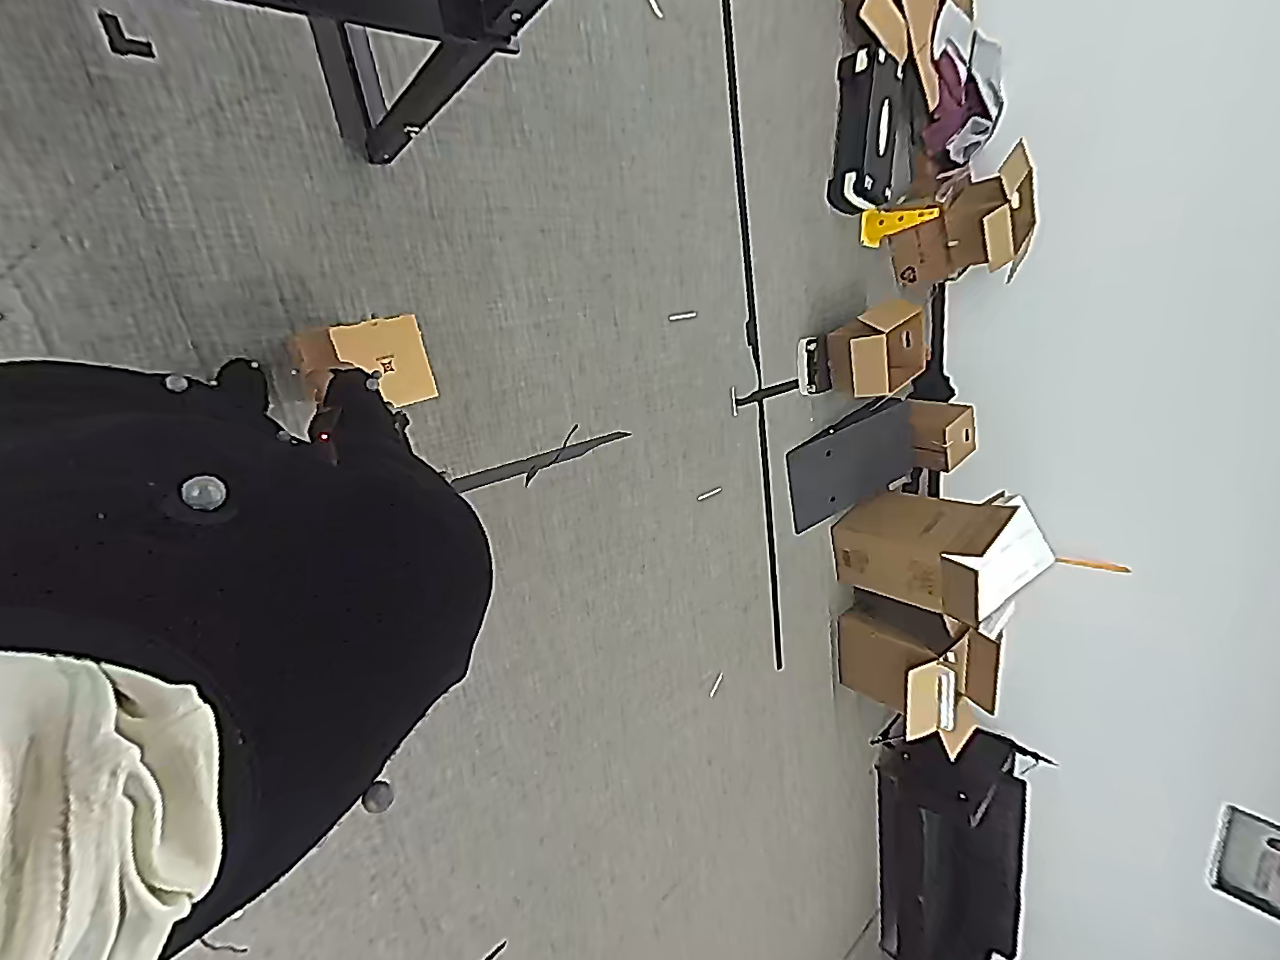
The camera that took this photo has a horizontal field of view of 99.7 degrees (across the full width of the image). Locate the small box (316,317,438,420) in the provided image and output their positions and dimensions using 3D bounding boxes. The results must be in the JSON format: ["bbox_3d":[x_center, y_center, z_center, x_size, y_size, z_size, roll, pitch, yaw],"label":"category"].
[{"bbox_3d":[-0.554,-0.236,1.138,0.168,0.176,0.179,-25,114,-34],"label":"small box"}]

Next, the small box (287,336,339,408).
[{"bbox_3d":[-0.768,-0.288,1.380,0.179,0.176,0.168,-23,112,-35],"label":"small box"}]
